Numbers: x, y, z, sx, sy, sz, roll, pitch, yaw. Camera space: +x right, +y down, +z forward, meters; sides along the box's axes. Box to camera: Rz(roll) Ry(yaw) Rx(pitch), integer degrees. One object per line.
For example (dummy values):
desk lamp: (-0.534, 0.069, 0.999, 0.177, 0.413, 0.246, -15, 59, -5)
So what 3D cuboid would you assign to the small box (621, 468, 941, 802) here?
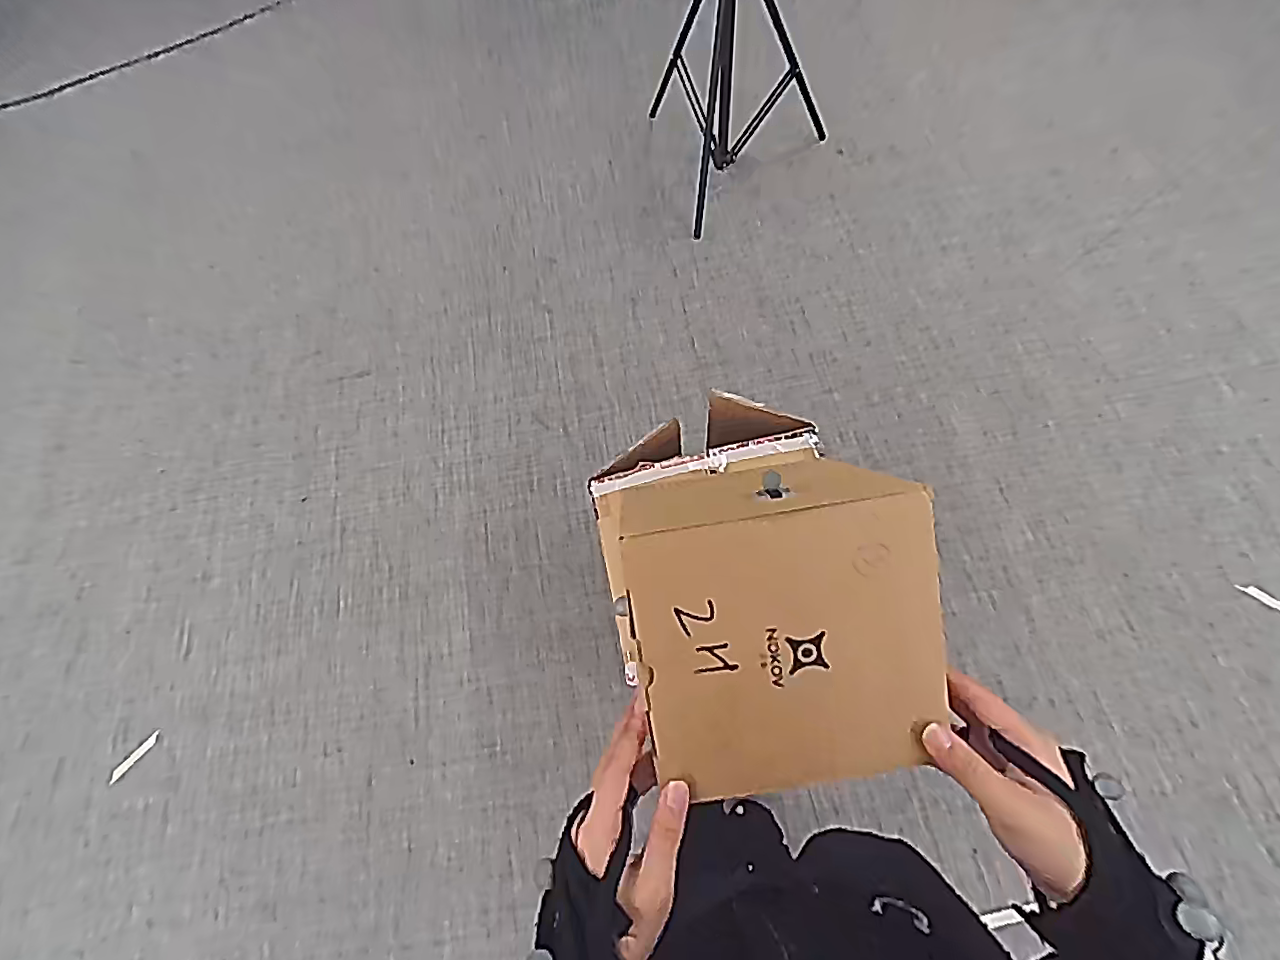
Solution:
small box: (0.082, 0.090, 0.392, 0.179, 0.176, 0.168, -9, 97, 0)
